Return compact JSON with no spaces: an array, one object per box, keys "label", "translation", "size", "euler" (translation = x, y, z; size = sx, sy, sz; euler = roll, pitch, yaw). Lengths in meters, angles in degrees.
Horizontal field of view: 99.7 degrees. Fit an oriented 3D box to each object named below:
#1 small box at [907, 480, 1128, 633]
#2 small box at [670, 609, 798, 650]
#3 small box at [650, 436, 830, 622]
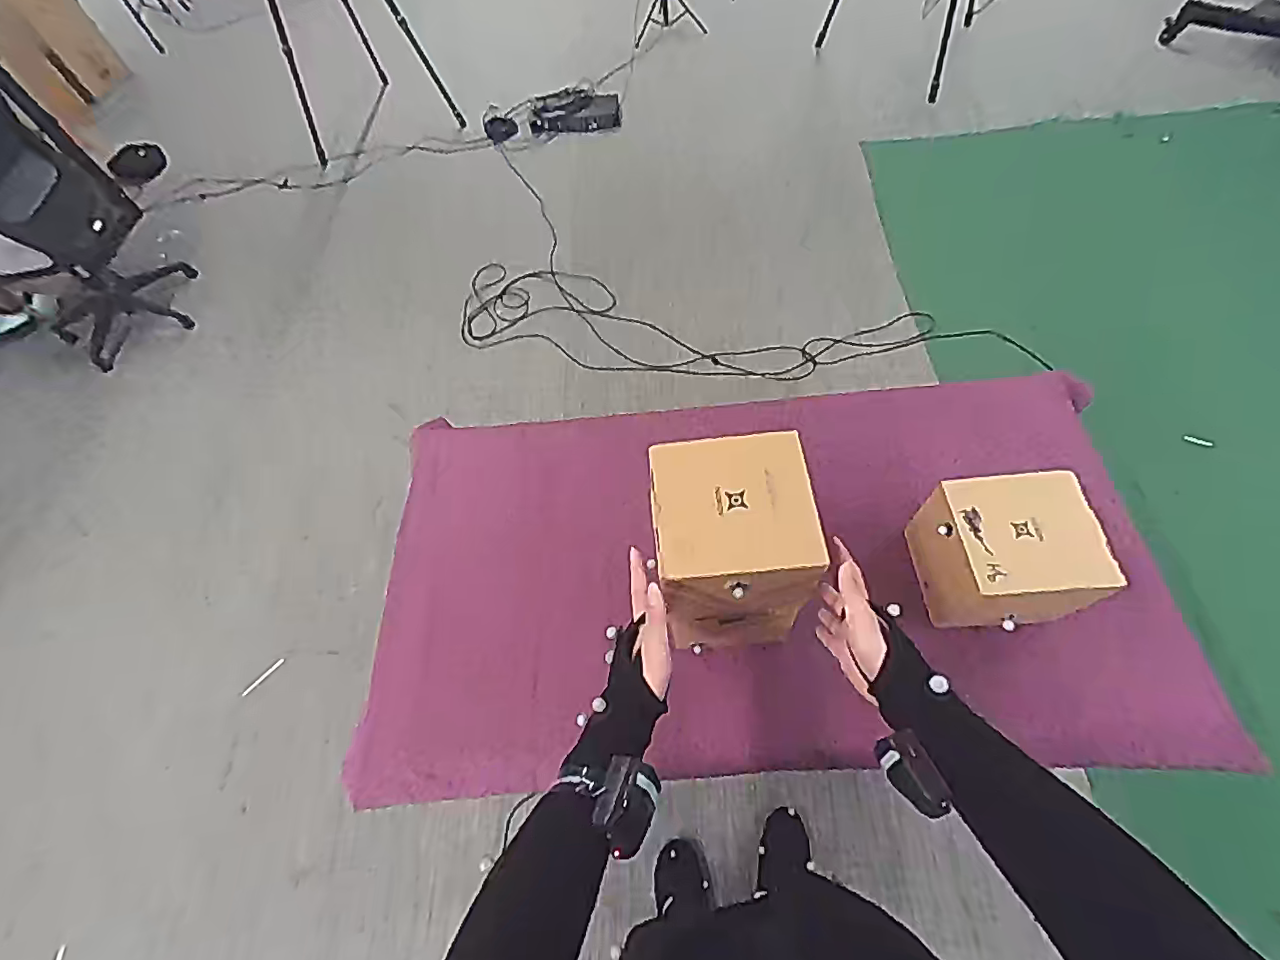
[{"label":"small box","translation":[0.514,0.114,0.770],"size":[0.179,0.176,0.168],"euler":[-4,60,4]},{"label":"small box","translation":[0.125,0.145,0.795],"size":[0.168,0.176,0.179],"euler":[-5,59,3]},{"label":"small box","translation":[0.110,0.067,0.652],"size":[0.179,0.176,0.168],"euler":[-5,61,3]}]
